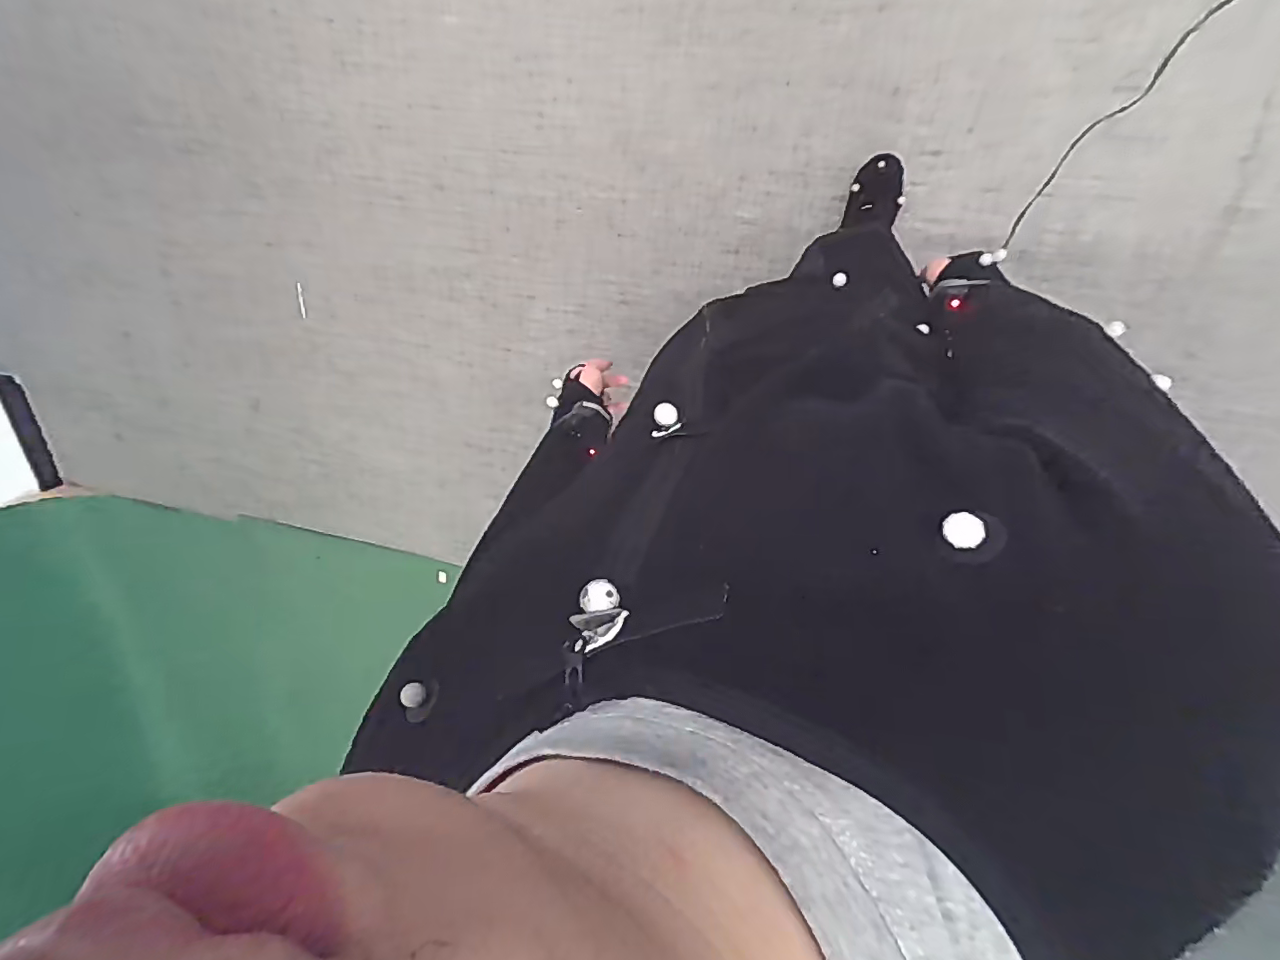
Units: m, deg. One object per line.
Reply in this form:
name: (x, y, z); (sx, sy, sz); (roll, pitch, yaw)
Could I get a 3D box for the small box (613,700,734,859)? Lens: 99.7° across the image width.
small box: (0.067, 0.534, 0.983); (0.179, 0.176, 0.168); (15, 116, 8)

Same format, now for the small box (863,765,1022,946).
small box: (0.488, 0.616, 0.905); (0.179, 0.176, 0.168); (10, 115, 13)
